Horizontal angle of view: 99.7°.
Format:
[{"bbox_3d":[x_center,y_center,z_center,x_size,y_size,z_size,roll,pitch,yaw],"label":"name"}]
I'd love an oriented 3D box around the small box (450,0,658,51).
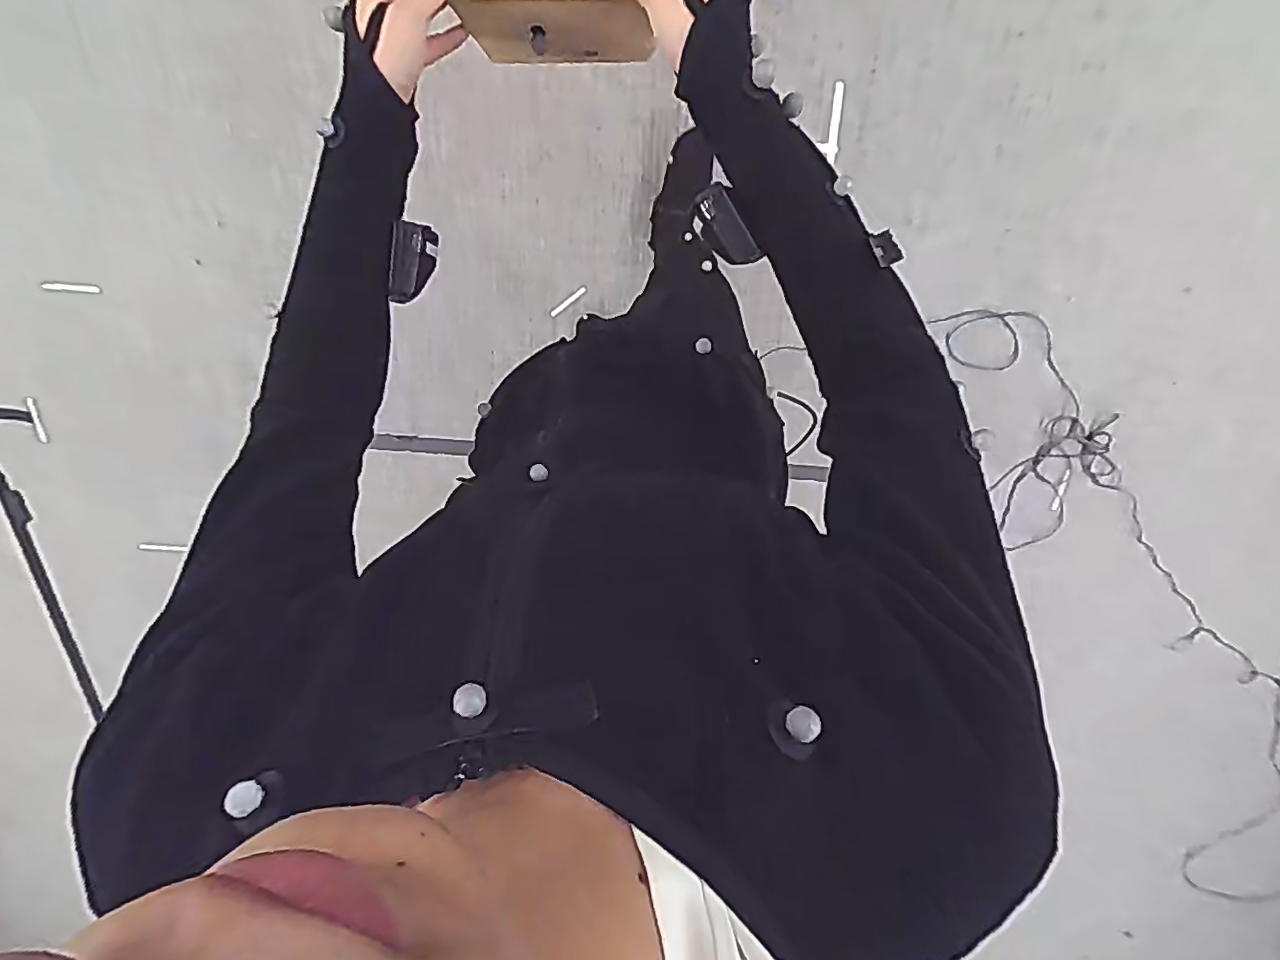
[{"bbox_3d":[-0.067,-0.469,0.429,0.168,0.176,0.179,-2,113,-1],"label":"small box"}]
